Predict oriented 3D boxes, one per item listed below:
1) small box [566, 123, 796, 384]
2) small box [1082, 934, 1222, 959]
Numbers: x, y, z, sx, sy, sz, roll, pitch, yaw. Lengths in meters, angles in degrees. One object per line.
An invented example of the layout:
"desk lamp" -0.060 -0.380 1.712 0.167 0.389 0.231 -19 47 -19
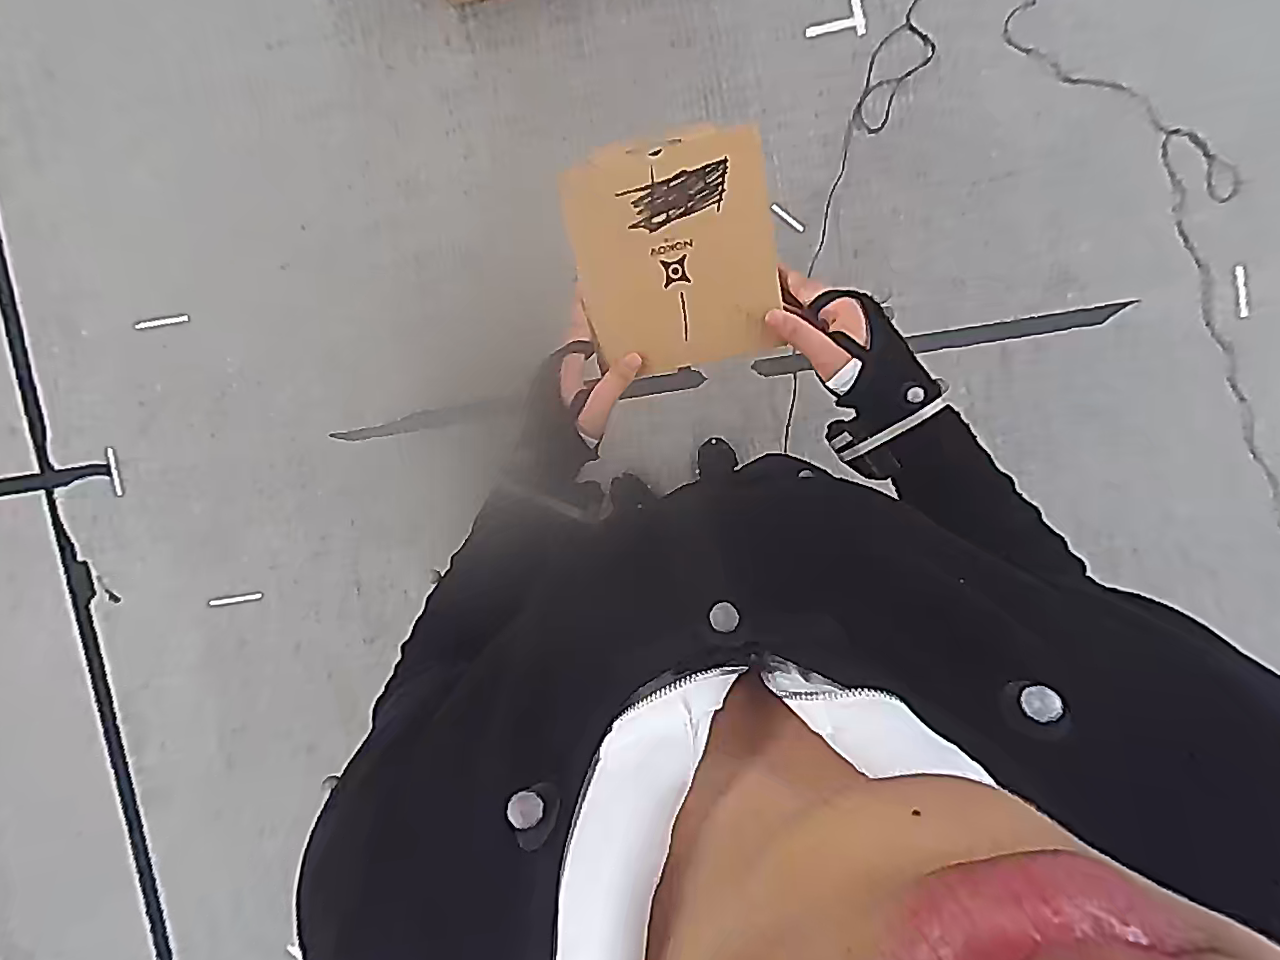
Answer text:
"small box" 0.038 -0.198 0.518 0.168 0.176 0.179 -11 104 5
"small box" 0.731 0.746 0.708 0.168 0.176 0.179 -14 93 3
